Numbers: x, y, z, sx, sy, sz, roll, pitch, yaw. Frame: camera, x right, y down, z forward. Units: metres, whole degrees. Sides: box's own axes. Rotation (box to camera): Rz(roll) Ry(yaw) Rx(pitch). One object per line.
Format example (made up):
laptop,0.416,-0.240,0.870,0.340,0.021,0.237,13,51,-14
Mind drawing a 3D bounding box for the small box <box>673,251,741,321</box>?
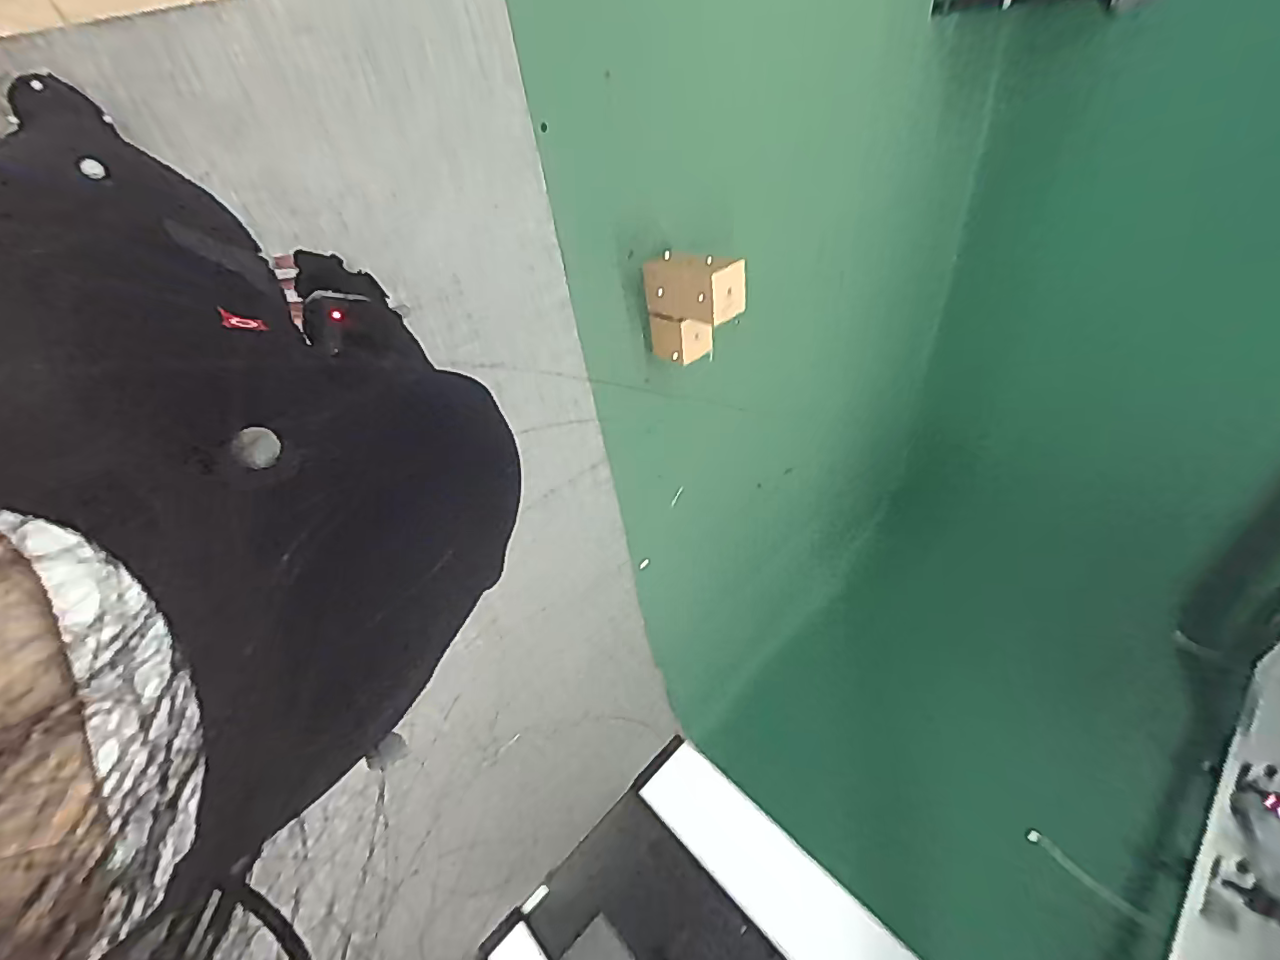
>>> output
small box,0.228,-0.668,1.844,0.168,0.176,0.179,-34,135,-28
